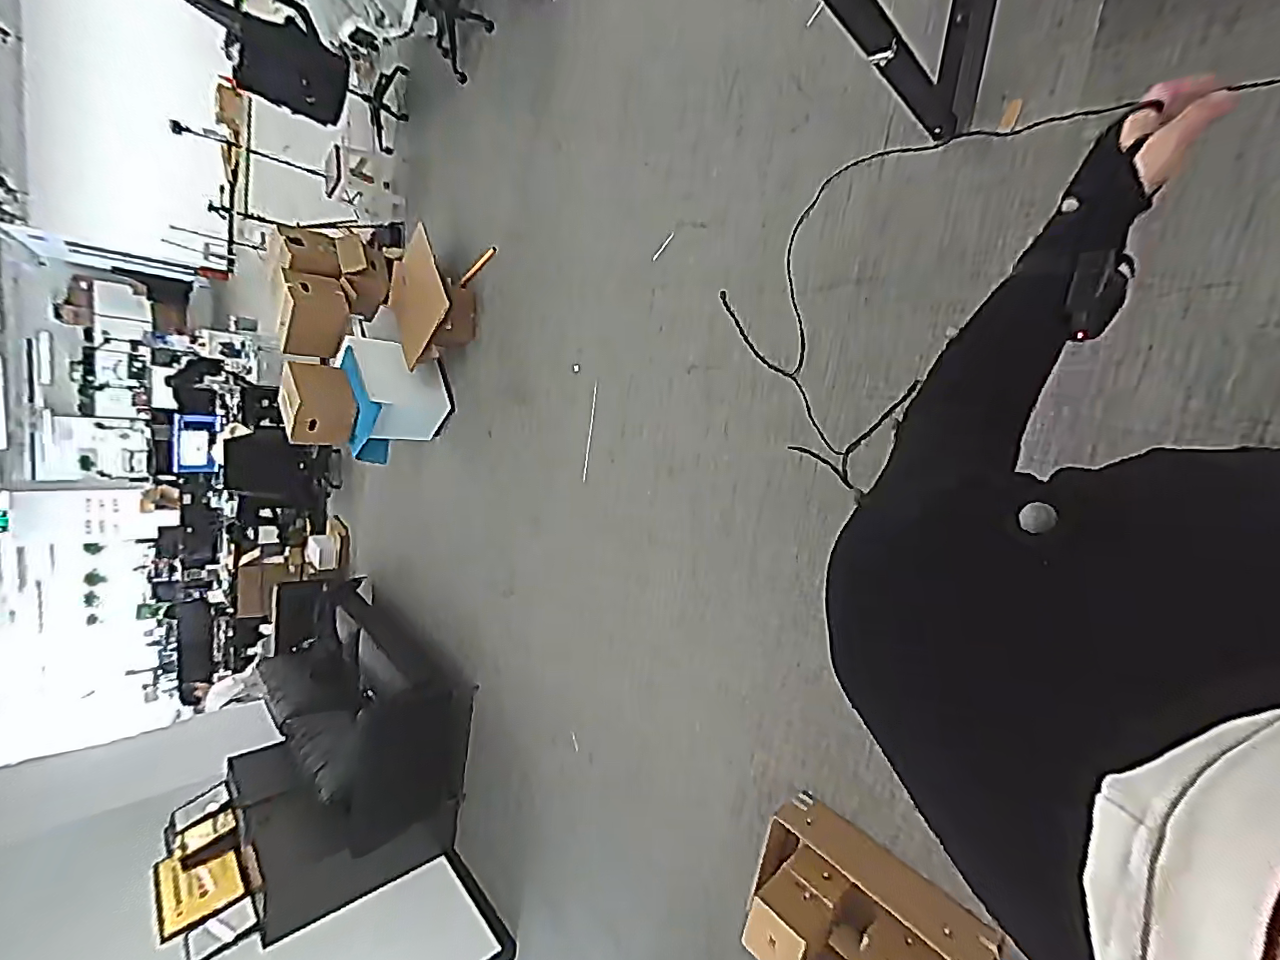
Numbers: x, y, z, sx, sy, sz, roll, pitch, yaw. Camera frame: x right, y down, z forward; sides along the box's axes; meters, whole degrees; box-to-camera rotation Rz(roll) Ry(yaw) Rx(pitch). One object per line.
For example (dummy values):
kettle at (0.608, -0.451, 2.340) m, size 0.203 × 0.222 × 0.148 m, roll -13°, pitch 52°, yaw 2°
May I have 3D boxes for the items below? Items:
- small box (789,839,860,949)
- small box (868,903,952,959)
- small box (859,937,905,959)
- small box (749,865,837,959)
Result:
small box at (0.558, 1.266, 1.672) m, size 0.168 × 0.176 × 0.179 m, roll 19°, pitch 105°, yaw 43°
small box at (0.736, 1.332, 1.491) m, size 0.168 × 0.176 × 0.179 m, roll 19°, pitch 104°, yaw 45°
small box at (0.620, 1.338, 1.374) m, size 0.168 × 0.176 × 0.179 m, roll 25°, pitch 109°, yaw 42°
small box at (0.443, 1.273, 1.556) m, size 0.168 × 0.176 × 0.179 m, roll 22°, pitch 106°, yaw 41°
